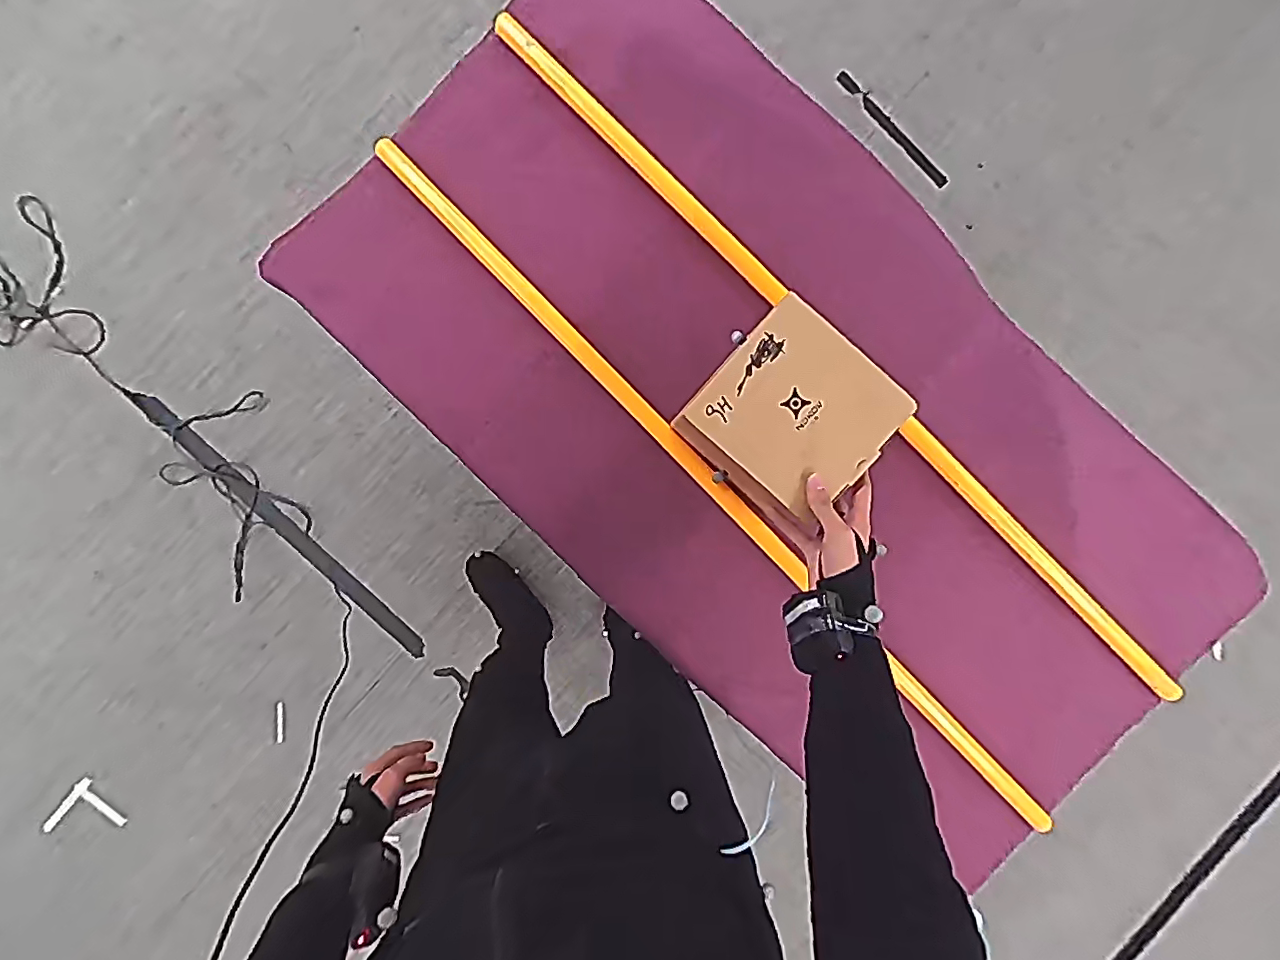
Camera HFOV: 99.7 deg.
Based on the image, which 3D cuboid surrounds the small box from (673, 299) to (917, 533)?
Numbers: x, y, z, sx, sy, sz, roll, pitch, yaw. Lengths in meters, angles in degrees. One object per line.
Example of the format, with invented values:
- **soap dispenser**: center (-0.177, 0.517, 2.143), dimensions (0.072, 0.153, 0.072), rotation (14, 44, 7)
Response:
- **small box**: center (0.157, -0.066, 0.611), dimensions (0.179, 0.176, 0.168), rotation (42, 90, -2)
